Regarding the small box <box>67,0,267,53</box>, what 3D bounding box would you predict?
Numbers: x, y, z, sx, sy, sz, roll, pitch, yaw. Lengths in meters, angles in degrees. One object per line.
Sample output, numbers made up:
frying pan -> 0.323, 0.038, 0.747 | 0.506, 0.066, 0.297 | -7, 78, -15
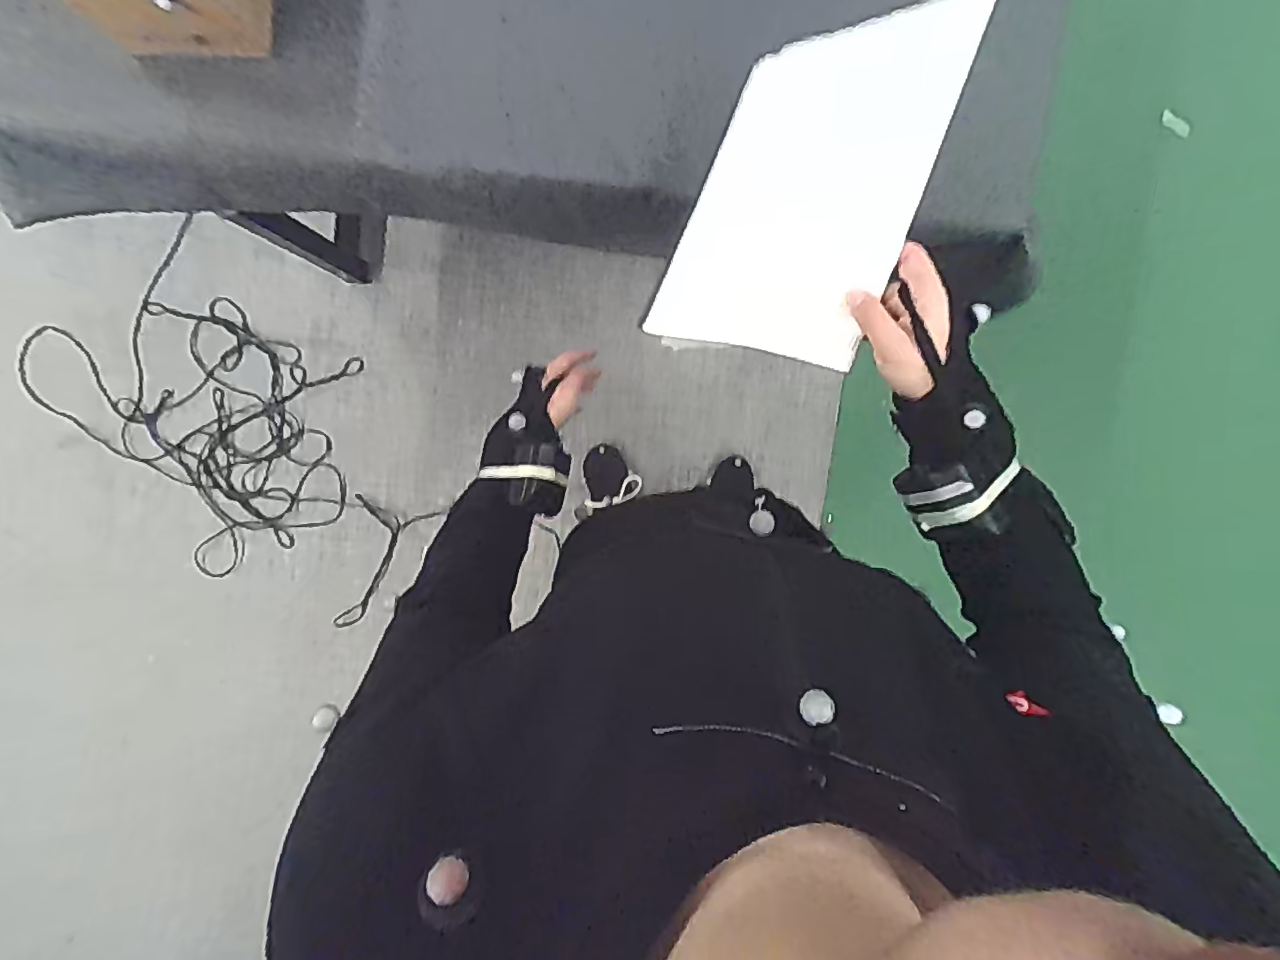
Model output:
small box -> -0.494, -0.557, 0.520 | 0.168, 0.176, 0.179 | 1, 93, 0
